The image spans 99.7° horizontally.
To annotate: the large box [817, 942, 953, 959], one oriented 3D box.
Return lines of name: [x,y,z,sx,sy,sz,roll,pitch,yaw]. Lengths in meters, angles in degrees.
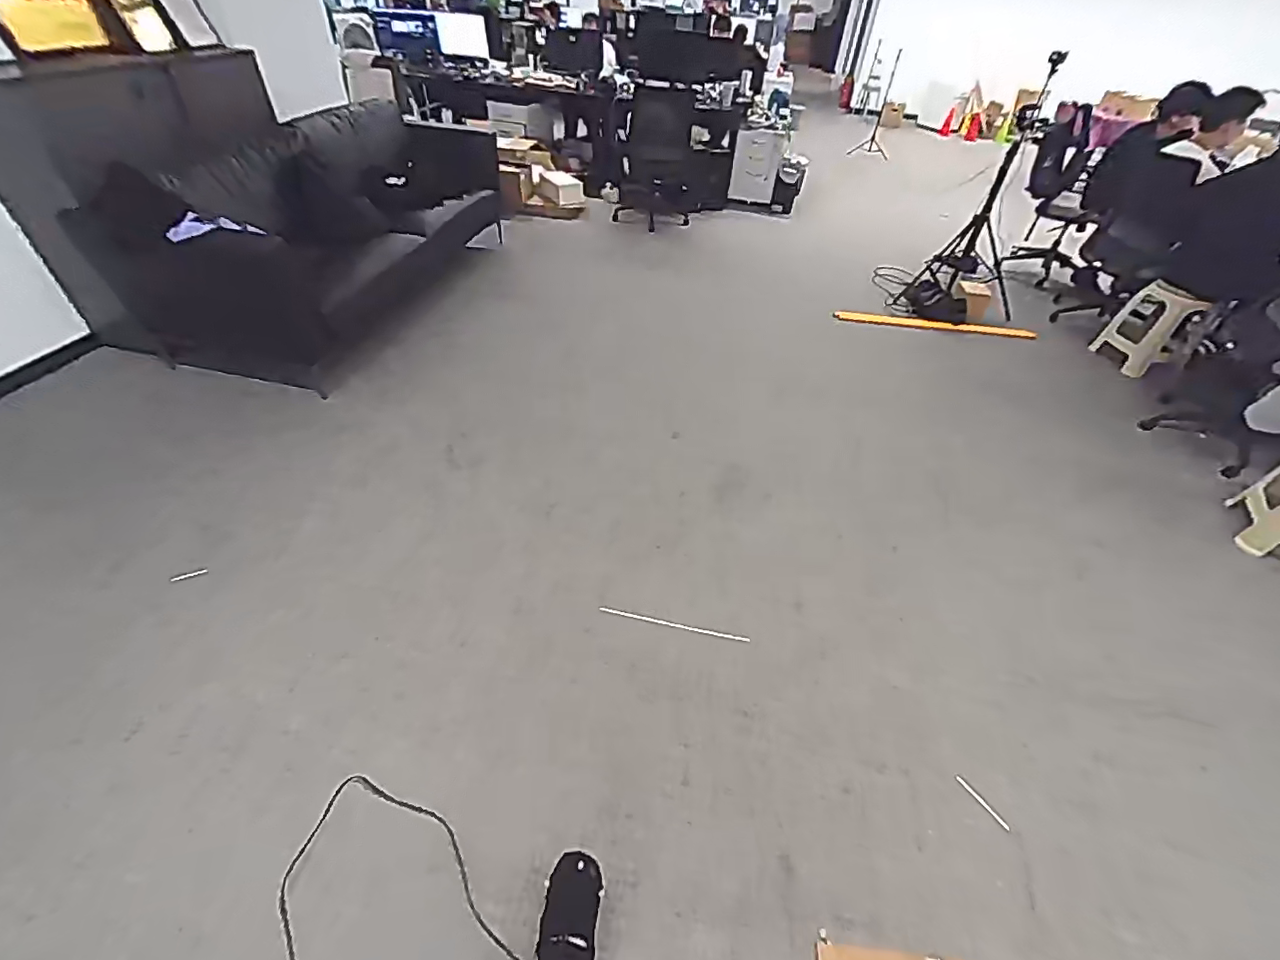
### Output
large box: [0.372,0.829,0.570,0.320,0.320,0.408,2,2,11]
